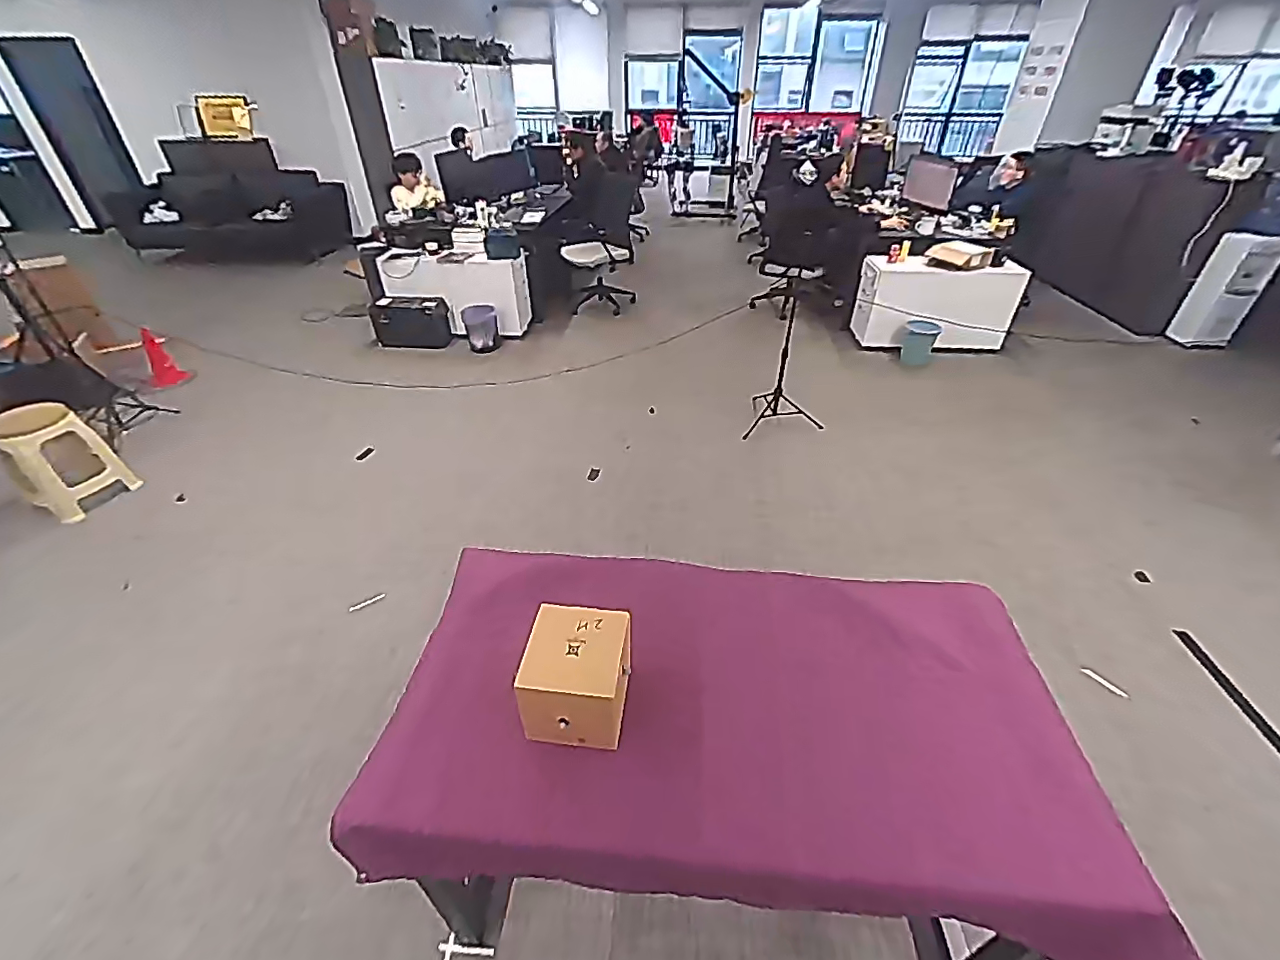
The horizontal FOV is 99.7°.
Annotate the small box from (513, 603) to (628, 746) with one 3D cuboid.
[{"bbox_3d":[-0.113,0.349,0.972,0.168,0.176,0.179,5,37,6],"label":"small box"}]
